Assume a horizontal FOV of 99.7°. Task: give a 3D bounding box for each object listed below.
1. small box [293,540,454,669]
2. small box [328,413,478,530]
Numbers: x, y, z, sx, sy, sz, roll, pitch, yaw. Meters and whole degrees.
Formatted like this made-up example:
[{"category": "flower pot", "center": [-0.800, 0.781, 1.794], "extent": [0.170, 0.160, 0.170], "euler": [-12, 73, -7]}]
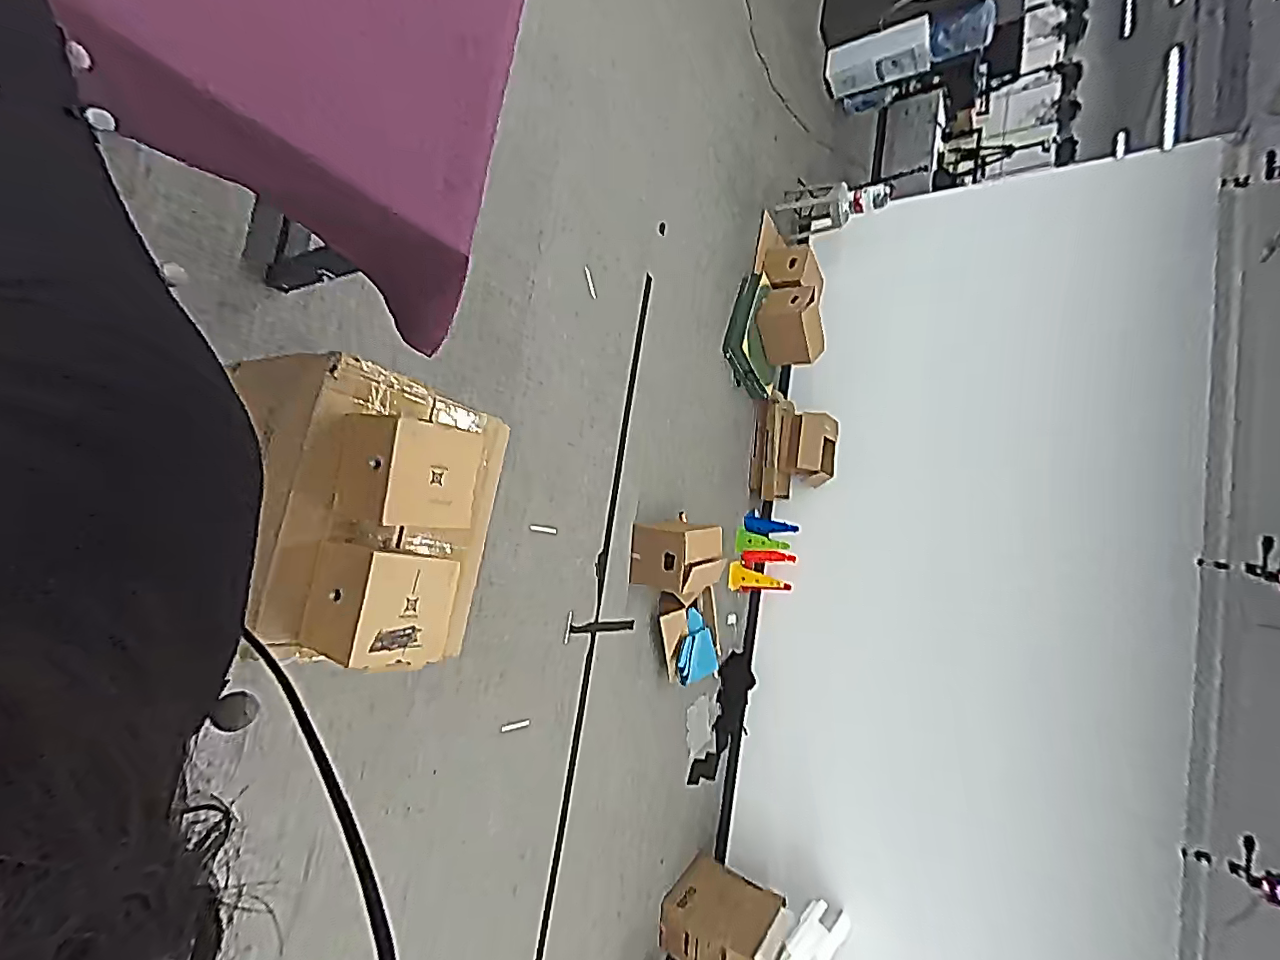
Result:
[{"category": "small box", "center": [-0.447, 0.205, 0.905], "extent": [0.168, 0.176, 0.179], "euler": [21, 74, -55]}, {"category": "small box", "center": [-0.410, -0.015, 0.935], "extent": [0.168, 0.176, 0.179], "euler": [13, 85, -54]}]
